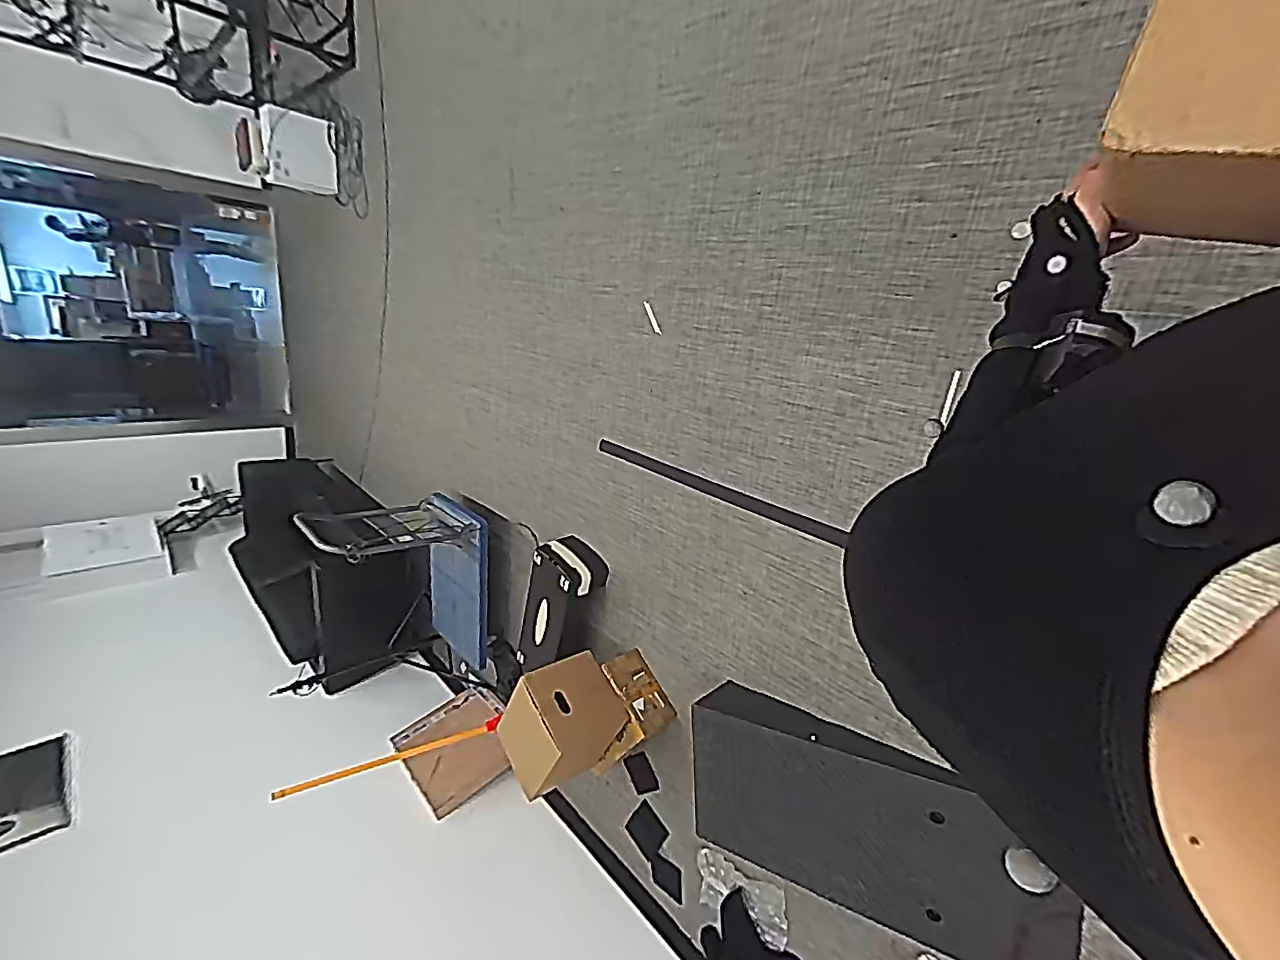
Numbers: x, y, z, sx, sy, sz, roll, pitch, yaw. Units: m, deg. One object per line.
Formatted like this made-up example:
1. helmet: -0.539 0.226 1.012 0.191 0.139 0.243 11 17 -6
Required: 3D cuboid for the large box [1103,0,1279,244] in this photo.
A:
1. large box: 0.484 -0.263 0.203 0.408 0.320 0.320 25 118 33
